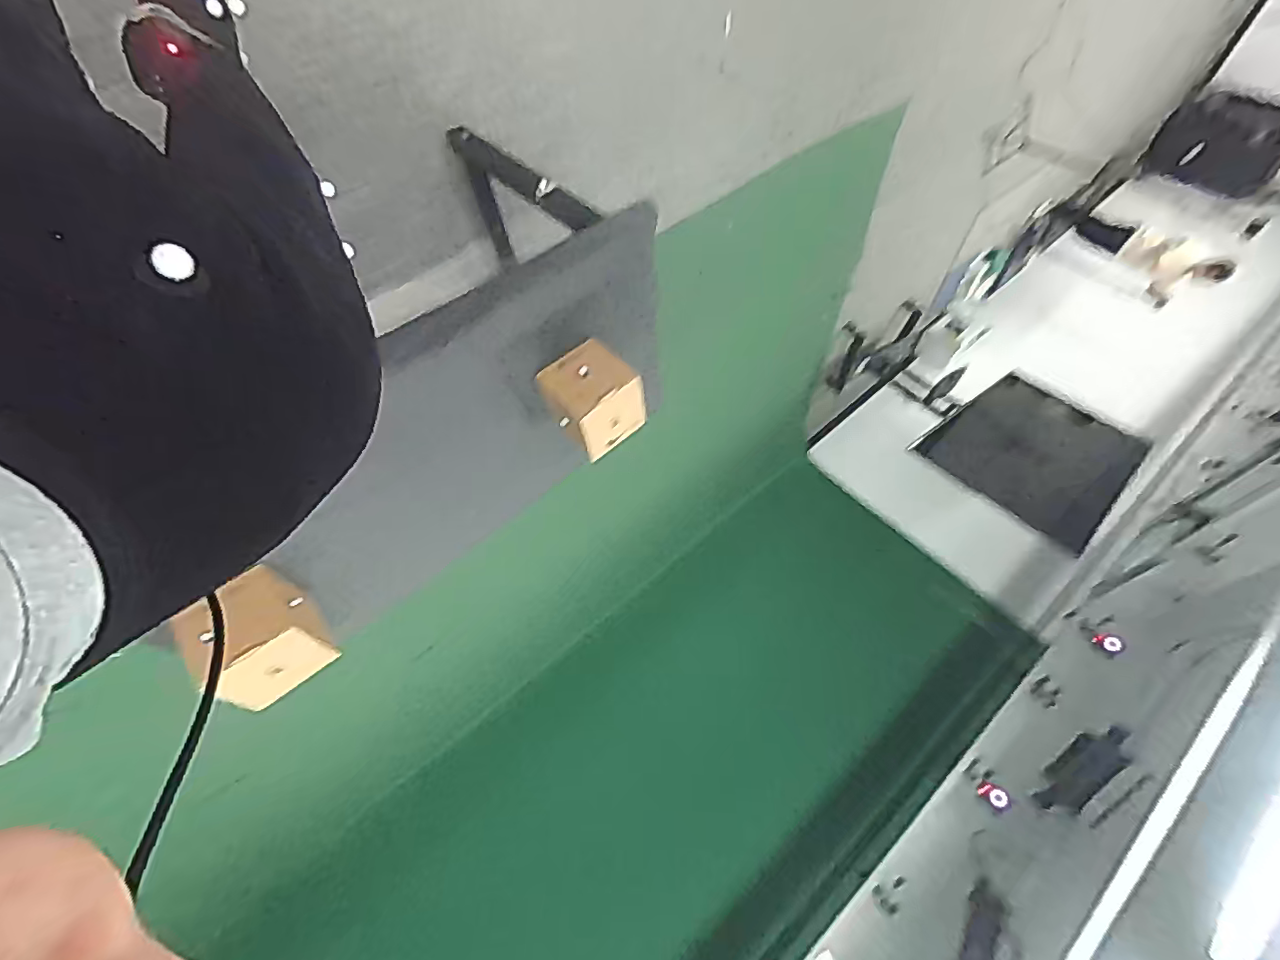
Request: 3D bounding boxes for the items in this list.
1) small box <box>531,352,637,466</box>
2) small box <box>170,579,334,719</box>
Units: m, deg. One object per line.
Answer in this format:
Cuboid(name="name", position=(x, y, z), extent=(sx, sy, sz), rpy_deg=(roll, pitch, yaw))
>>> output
Cuboid(name="small box", position=(-0.129, -0.172, 1.254), extent=(0.168, 0.176, 0.179), rpy_deg=(-38, 152, -16))
Cuboid(name="small box", position=(-0.731, 0.315, 1.022), extent=(0.168, 0.176, 0.179), rpy_deg=(-36, 153, -20))
